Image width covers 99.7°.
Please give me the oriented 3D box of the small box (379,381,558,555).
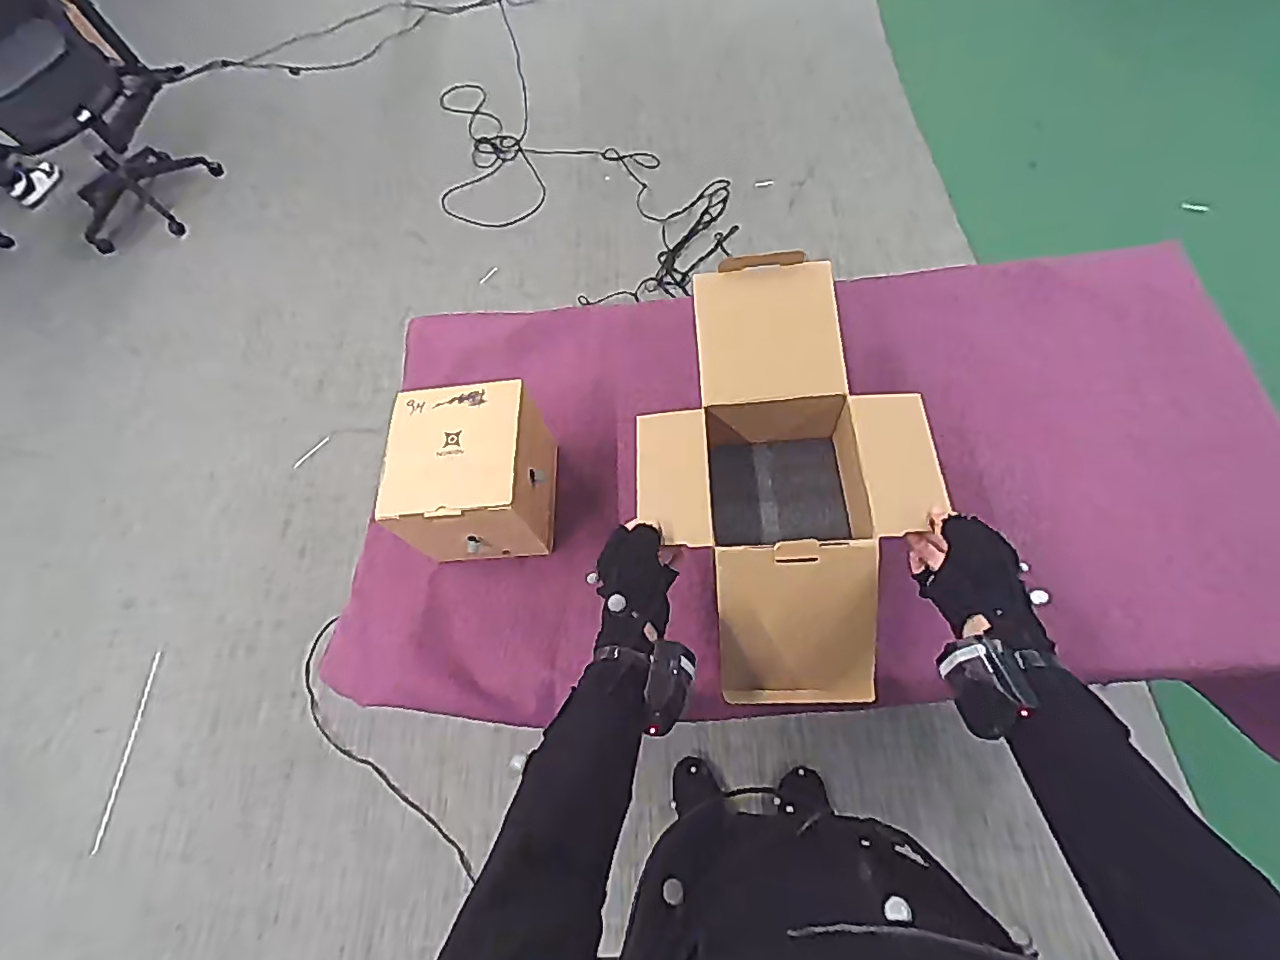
[{"bbox_3d":[-0.210,-0.005,0.715,0.168,0.176,0.179,-5,64,6],"label":"small box"}]
